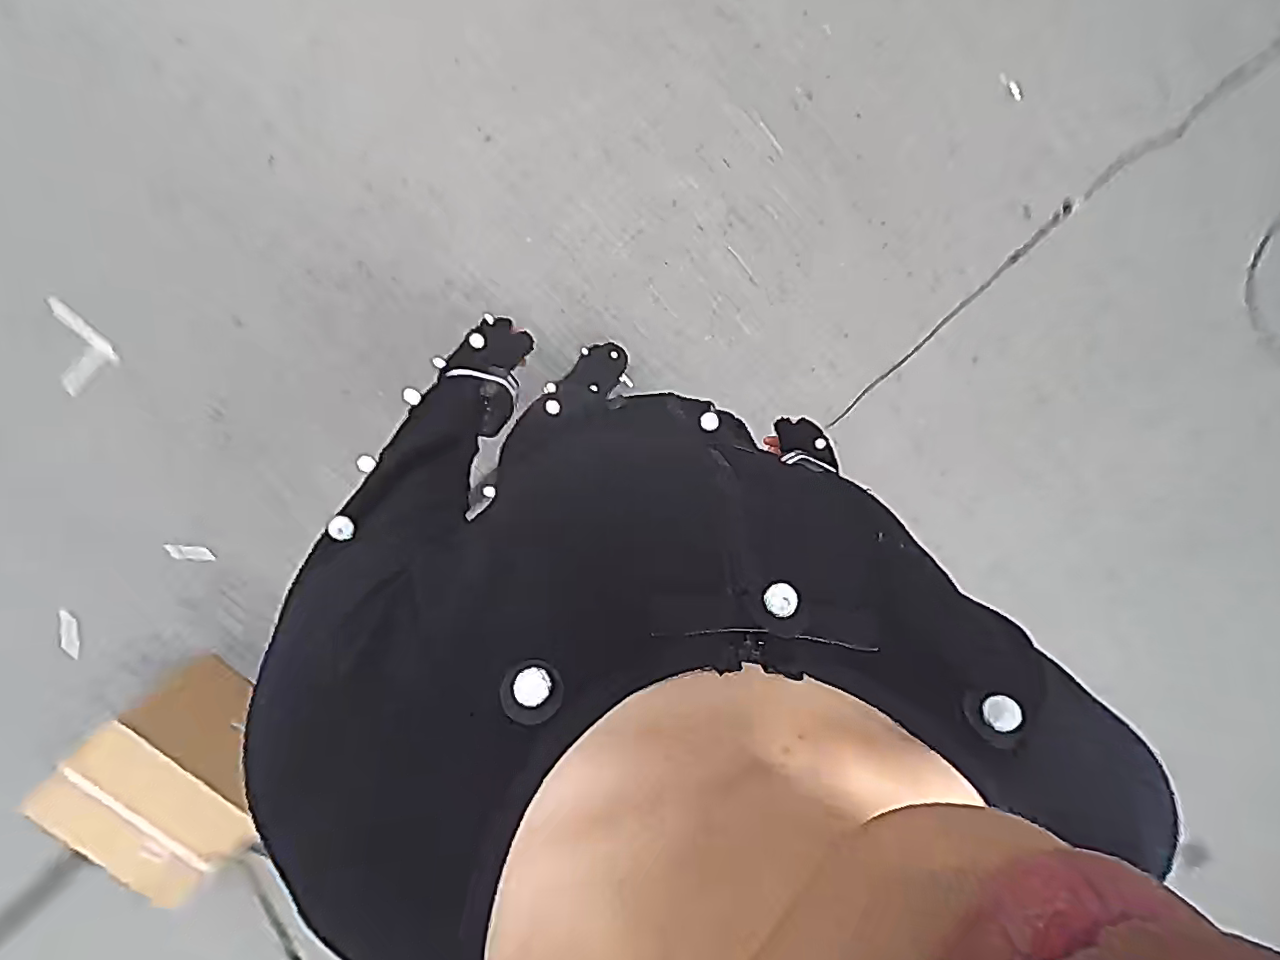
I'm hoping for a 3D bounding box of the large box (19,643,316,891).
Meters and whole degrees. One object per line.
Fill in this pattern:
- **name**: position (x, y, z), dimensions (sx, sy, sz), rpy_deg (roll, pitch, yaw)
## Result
- **large box**: position (-1.149, 0.703, 1.374), dimensions (0.320, 0.320, 0.408), rpy_deg (-42, 102, 3)
